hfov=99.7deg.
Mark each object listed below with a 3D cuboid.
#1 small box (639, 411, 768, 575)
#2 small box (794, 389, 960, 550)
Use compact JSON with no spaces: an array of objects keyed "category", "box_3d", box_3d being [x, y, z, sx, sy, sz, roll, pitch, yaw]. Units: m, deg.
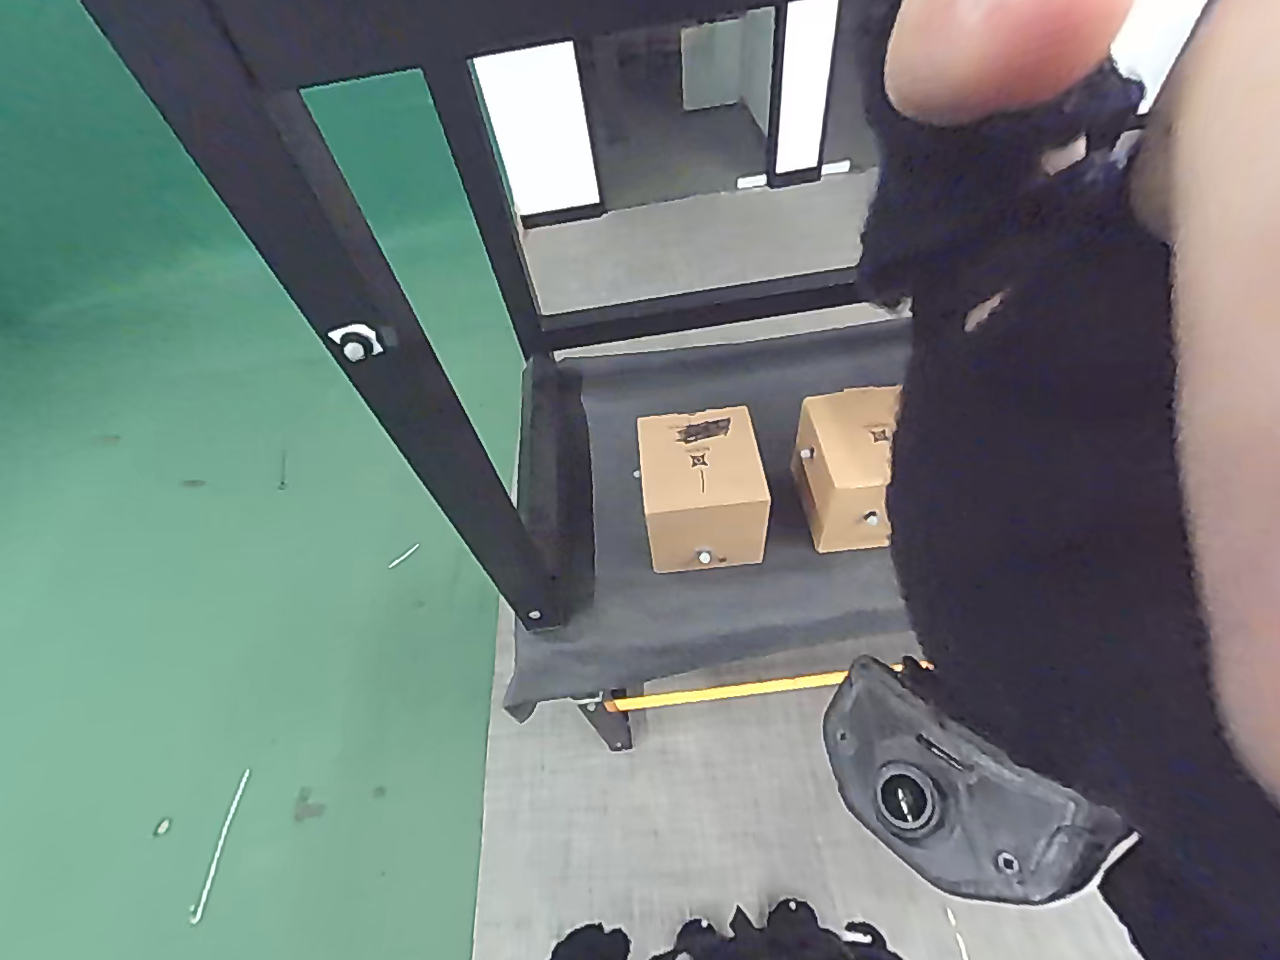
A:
[{"category":"small box","box_3d":[0.089,0.022,0.813,0.168,0.176,0.179,-6,52,4]},{"category":"small box","box_3d":[0.333,-0.008,0.801,0.168,0.176,0.179,-6,51,3]}]
